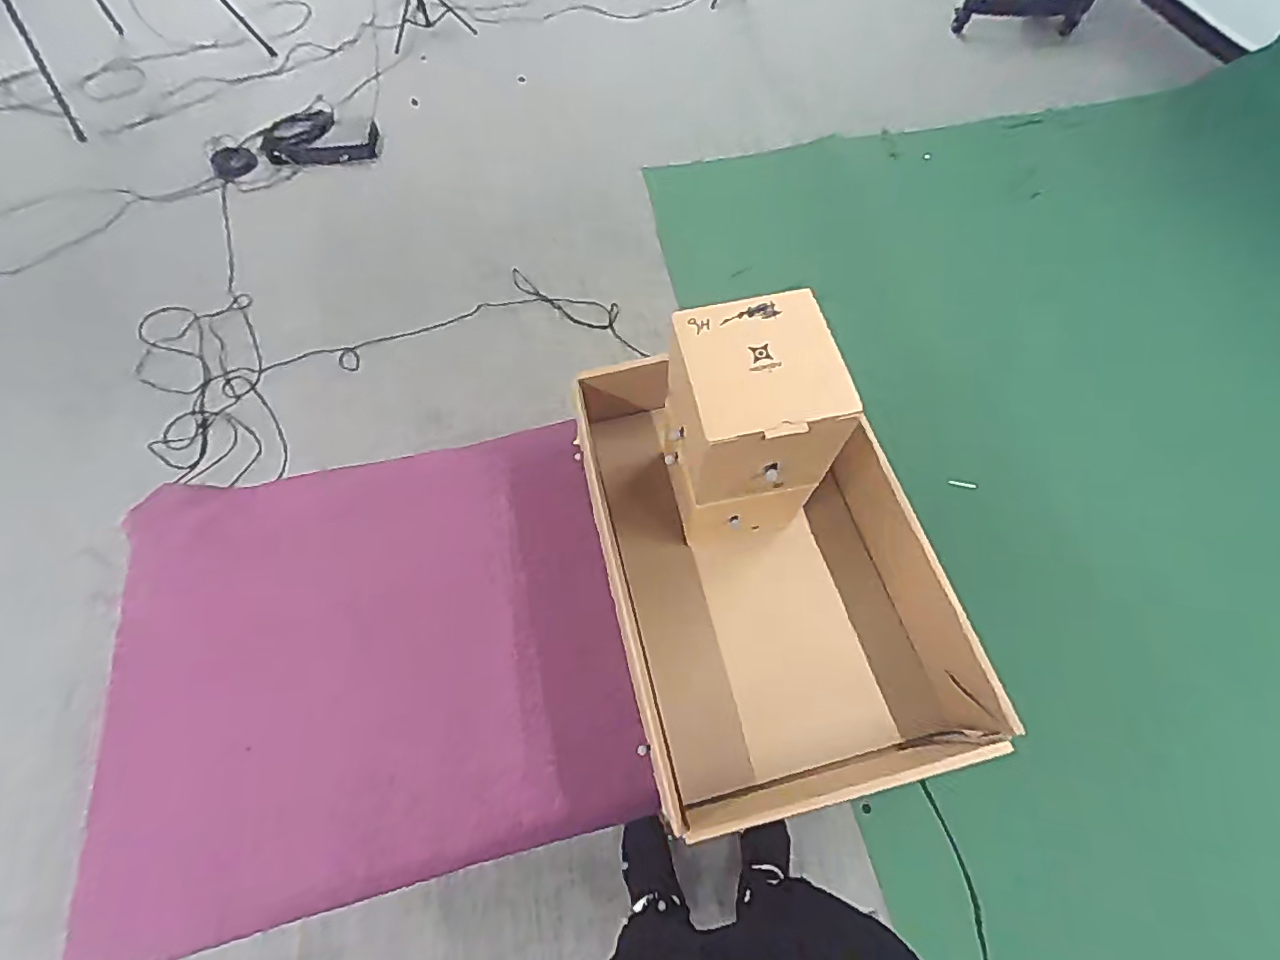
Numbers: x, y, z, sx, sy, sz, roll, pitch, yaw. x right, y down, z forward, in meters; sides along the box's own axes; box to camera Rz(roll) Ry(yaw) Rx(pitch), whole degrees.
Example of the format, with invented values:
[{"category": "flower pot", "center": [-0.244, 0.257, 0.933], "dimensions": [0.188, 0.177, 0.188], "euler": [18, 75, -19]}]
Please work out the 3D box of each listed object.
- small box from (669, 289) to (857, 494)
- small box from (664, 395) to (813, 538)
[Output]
[{"category": "small box", "center": [0.131, -0.094, 0.652], "dimensions": [0.168, 0.176, 0.179], "euler": [-10, 66, -3]}, {"category": "small box", "center": [0.134, -0.023, 0.799], "dimensions": [0.168, 0.176, 0.179], "euler": [-11, 65, -3]}]
